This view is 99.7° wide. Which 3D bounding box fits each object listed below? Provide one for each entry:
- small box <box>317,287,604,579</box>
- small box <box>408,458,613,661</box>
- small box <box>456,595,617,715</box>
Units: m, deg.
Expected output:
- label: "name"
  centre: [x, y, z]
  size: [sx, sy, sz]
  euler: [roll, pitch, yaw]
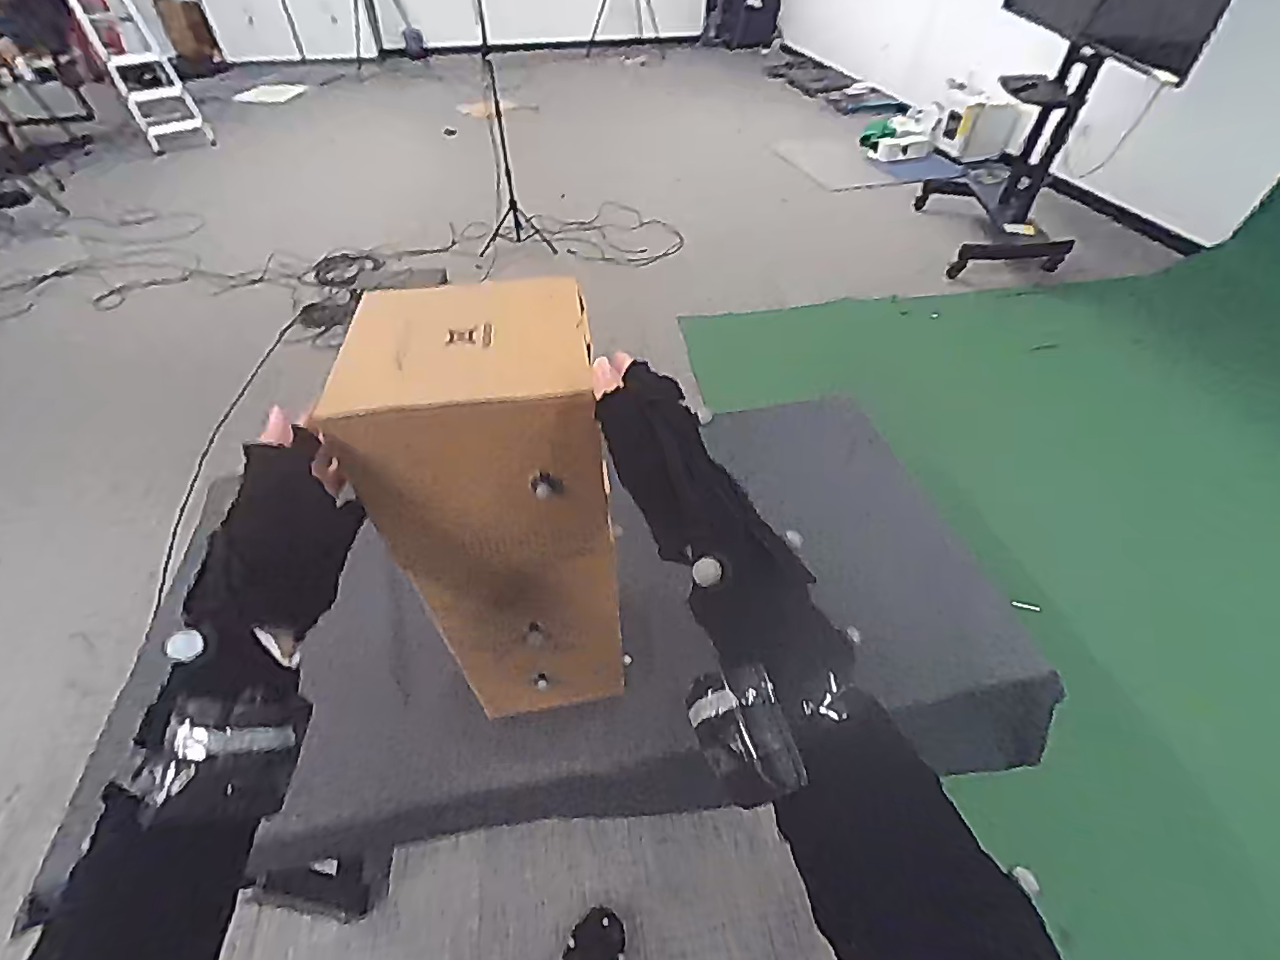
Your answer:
- label: "small box"
  centre: [-0.125, -0.038, 0.454]
  size: [0.179, 0.176, 0.168]
  euler: [-8, 46, -5]
- label: "small box"
  centre: [-0.123, 0.071, 0.574]
  size: [0.179, 0.176, 0.168]
  euler: [-7, 46, -7]
- label: "small box"
  centre: [-0.122, 0.180, 0.692]
  size: [0.179, 0.176, 0.168]
  euler: [-5, 44, -5]
